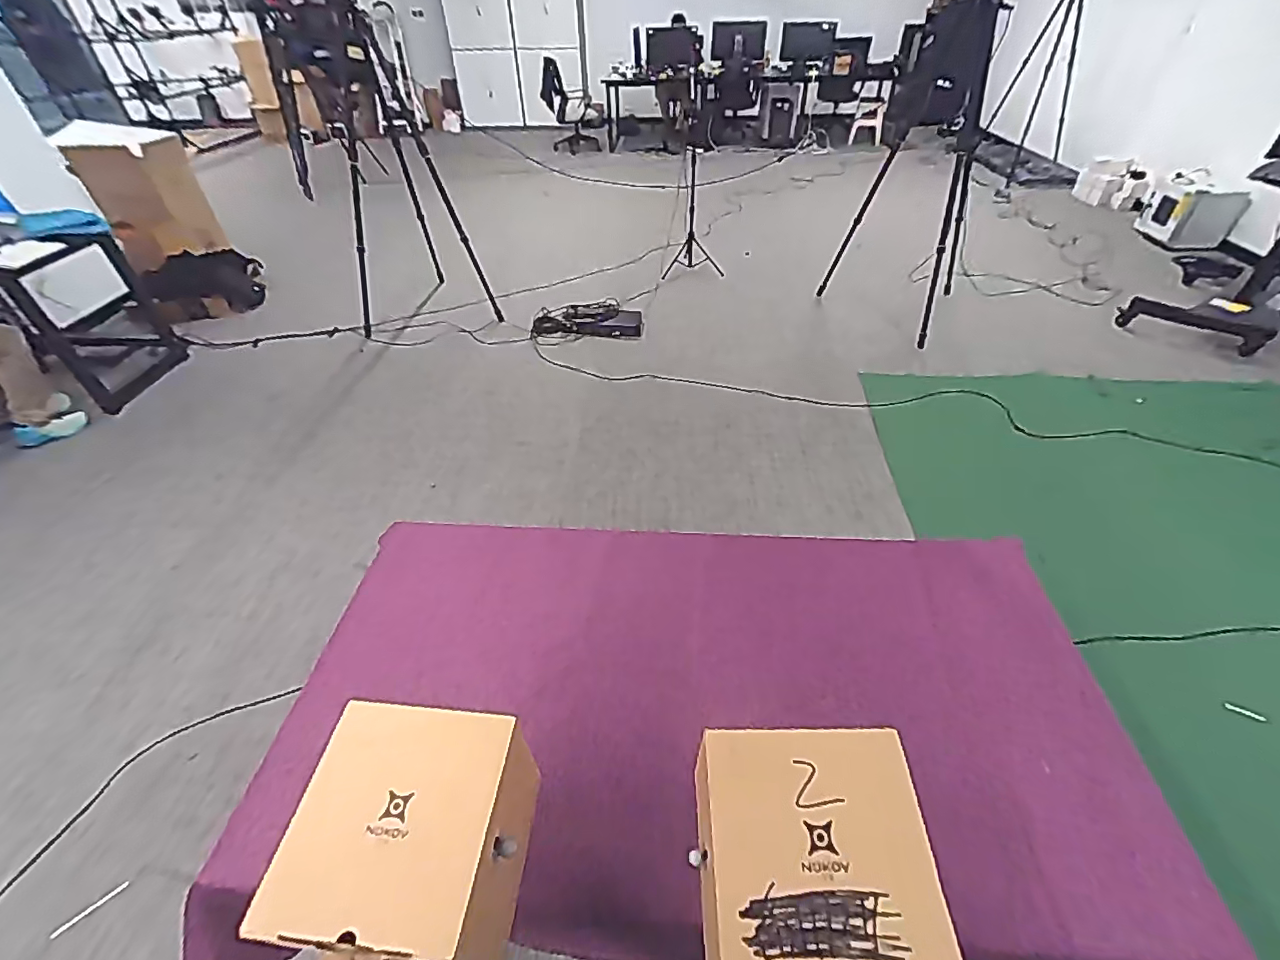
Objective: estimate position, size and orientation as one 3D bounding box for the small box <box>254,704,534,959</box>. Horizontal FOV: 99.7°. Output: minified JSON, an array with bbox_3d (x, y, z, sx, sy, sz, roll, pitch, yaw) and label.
[{"bbox_3d":[-0.206,0.342,0.519,0.168,0.176,0.179,3,46,5],"label":"small box"}]
